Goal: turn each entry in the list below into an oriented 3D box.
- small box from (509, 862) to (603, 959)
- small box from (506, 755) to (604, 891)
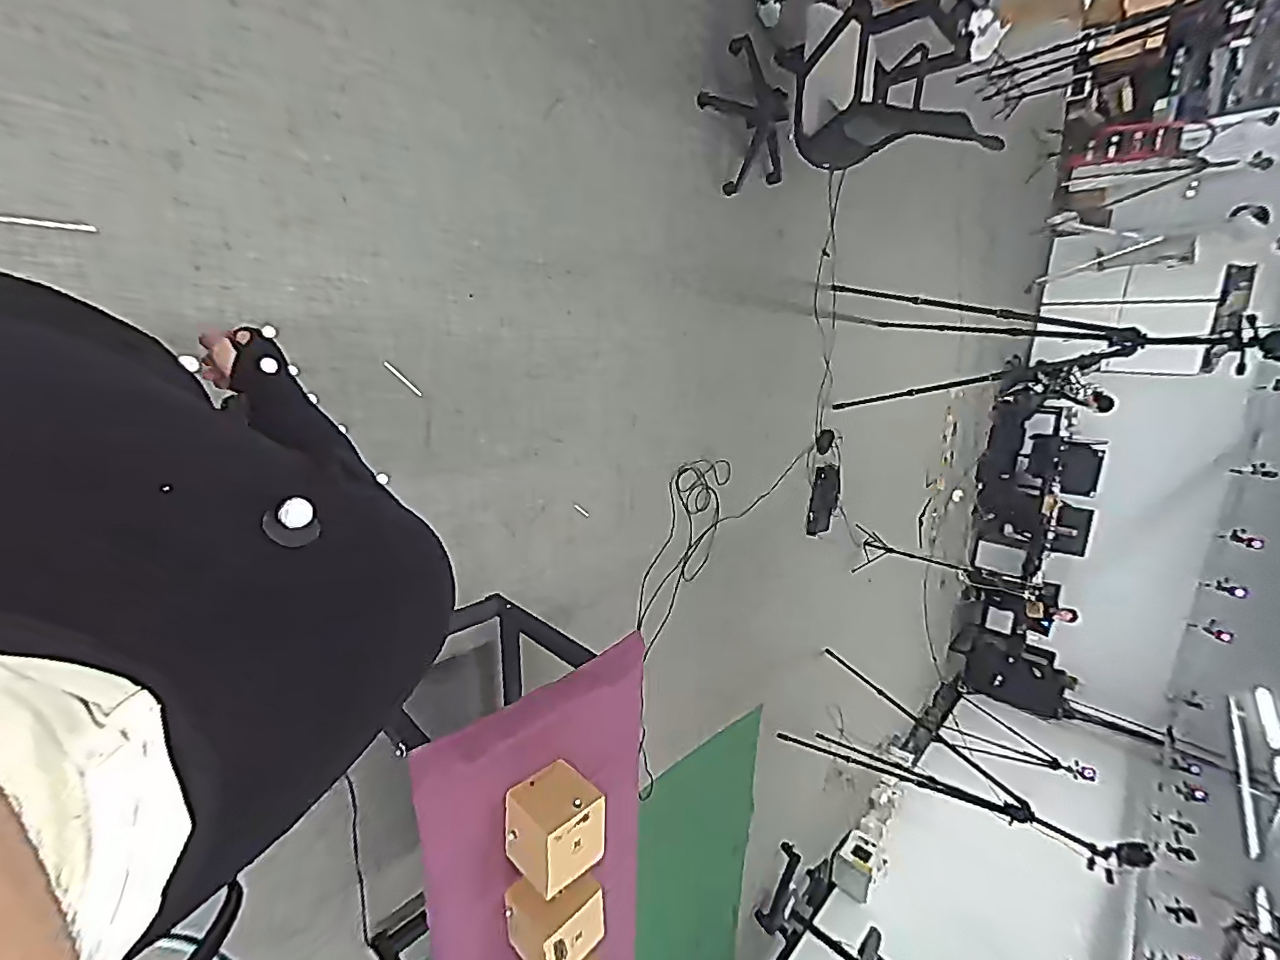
[{"bbox_3d":[-0.214,1.063,1.349,0.179,0.176,0.168,-18,114,-44],"label":"small box"},{"bbox_3d":[-0.205,0.803,1.285,0.168,0.176,0.179,-11,109,-46],"label":"small box"}]
